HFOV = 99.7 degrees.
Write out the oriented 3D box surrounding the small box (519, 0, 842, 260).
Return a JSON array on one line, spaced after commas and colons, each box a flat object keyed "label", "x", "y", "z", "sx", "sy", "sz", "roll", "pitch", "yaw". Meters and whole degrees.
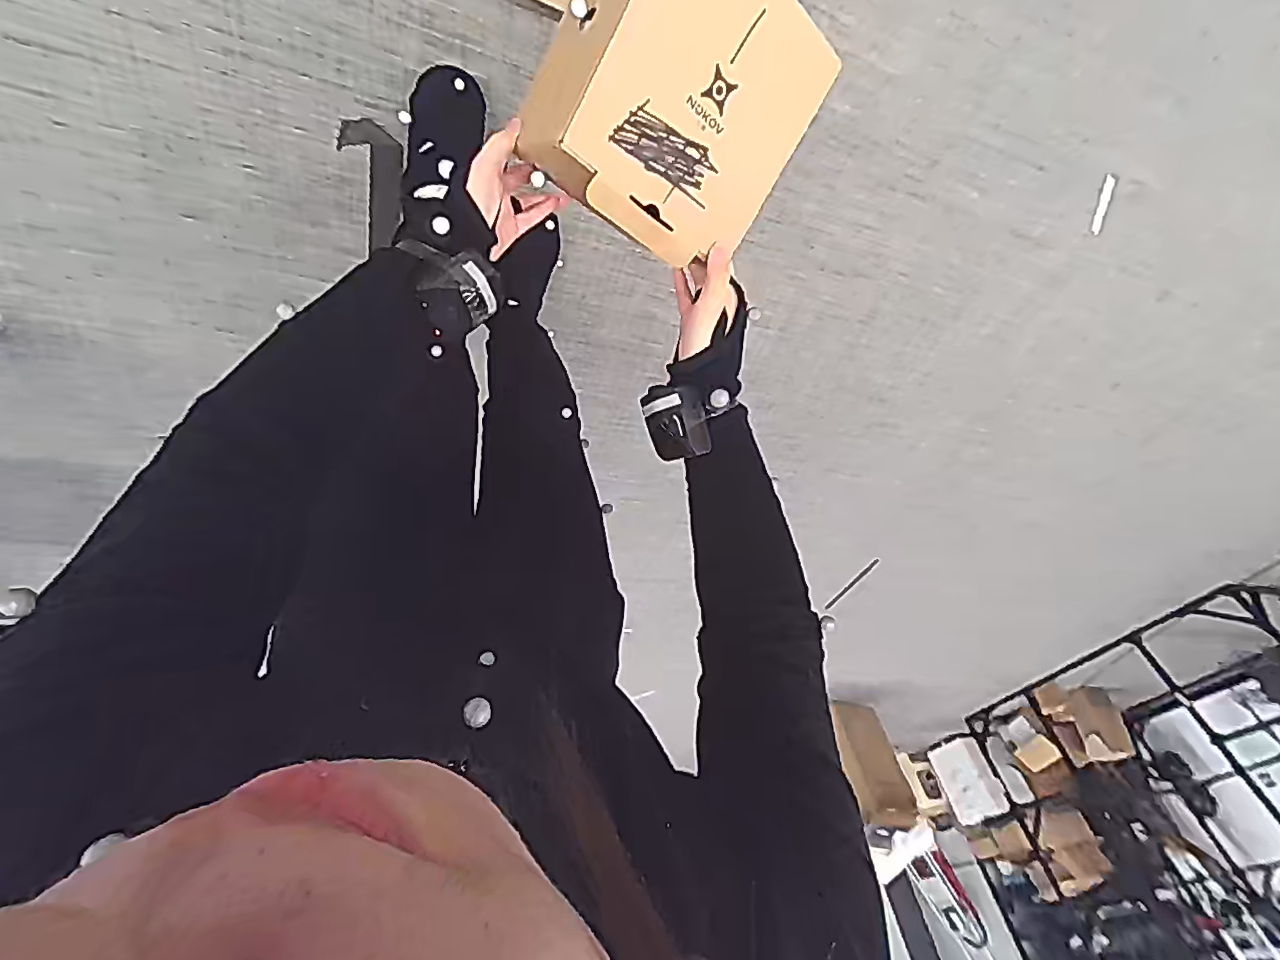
[{"label": "small box", "x": 0.017, "y": -0.313, "z": 0.444, "sx": 0.168, "sy": 0.176, "sz": 0.179, "roll": 22, "pitch": 106, "yaw": -36}]
